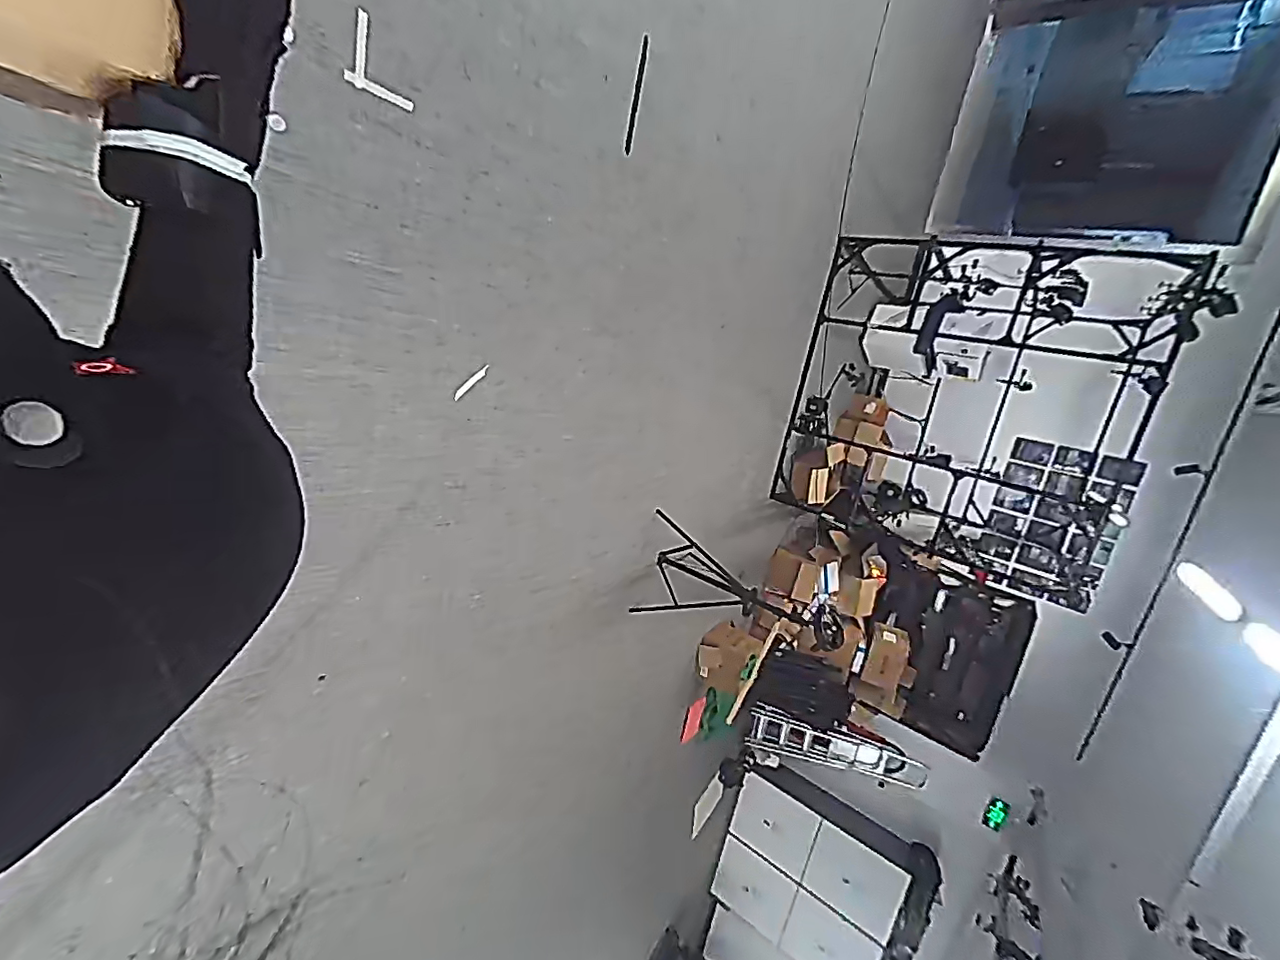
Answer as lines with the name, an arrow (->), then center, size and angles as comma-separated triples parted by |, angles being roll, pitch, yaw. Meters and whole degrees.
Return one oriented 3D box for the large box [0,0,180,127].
large box -> -0.526, -0.438, 0.260 | 0.408, 0.320, 0.320 | -7, 119, -59
